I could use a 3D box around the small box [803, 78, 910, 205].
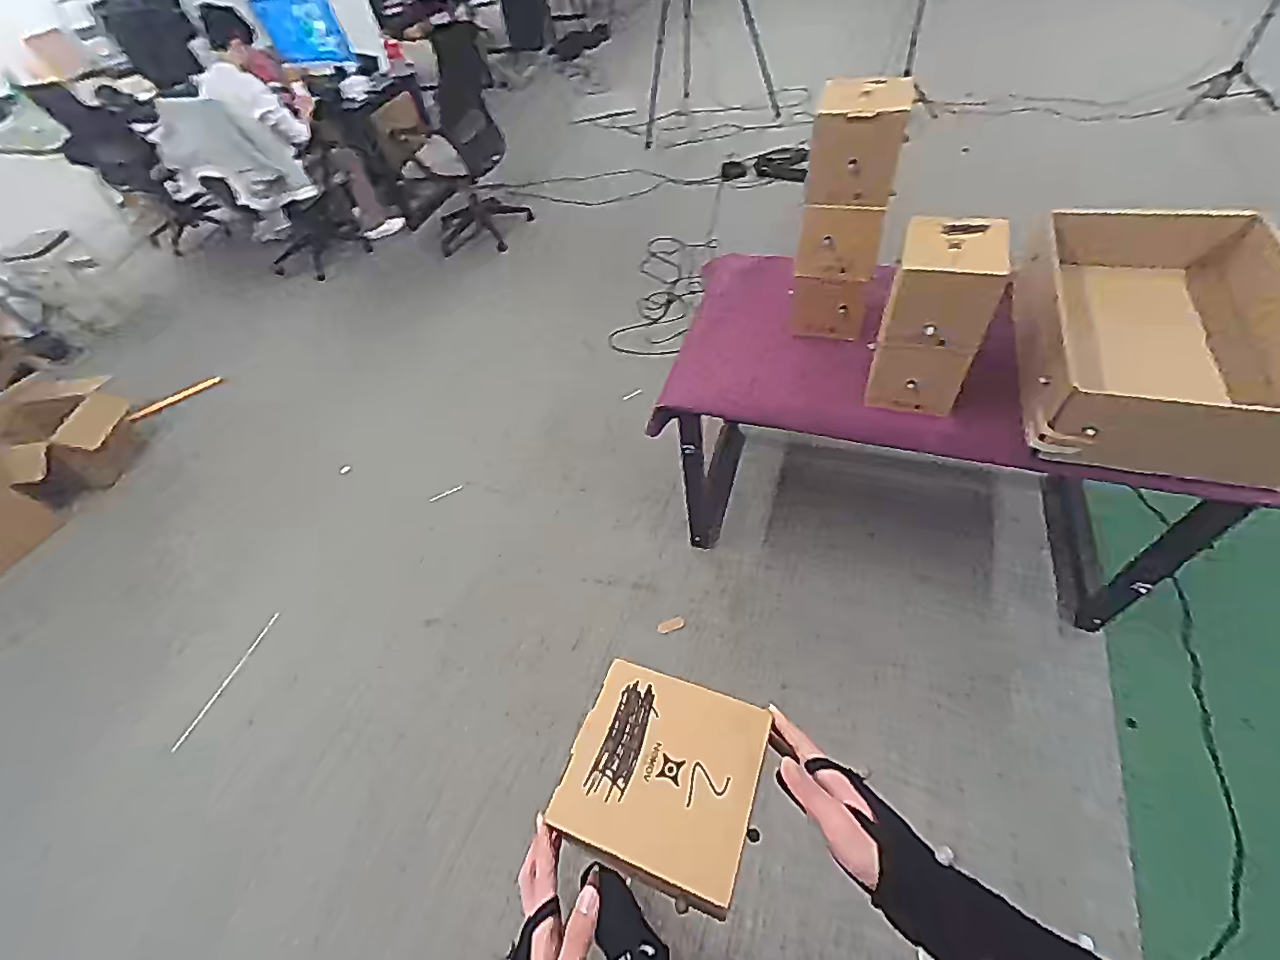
[{"bbox_3d":[0.426,-0.670,1.078,0.168,0.176,0.179,11,55,16],"label":"small box"}]

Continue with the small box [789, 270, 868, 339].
[{"bbox_3d":[0.467,-0.470,1.332,0.168,0.176,0.179,12,55,17],"label":"small box"}]

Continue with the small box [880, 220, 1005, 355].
[{"bbox_3d":[0.562,-0.363,1.018,0.168,0.176,0.179,12,55,18],"label":"small box"}]

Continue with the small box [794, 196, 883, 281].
[{"bbox_3d":[0.444,-0.566,1.204,0.168,0.176,0.179,11,54,17],"label":"small box"}]

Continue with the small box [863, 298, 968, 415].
[{"bbox_3d":[0.581,-0.262,1.145,0.168,0.176,0.179,13,55,18],"label":"small box"}]
